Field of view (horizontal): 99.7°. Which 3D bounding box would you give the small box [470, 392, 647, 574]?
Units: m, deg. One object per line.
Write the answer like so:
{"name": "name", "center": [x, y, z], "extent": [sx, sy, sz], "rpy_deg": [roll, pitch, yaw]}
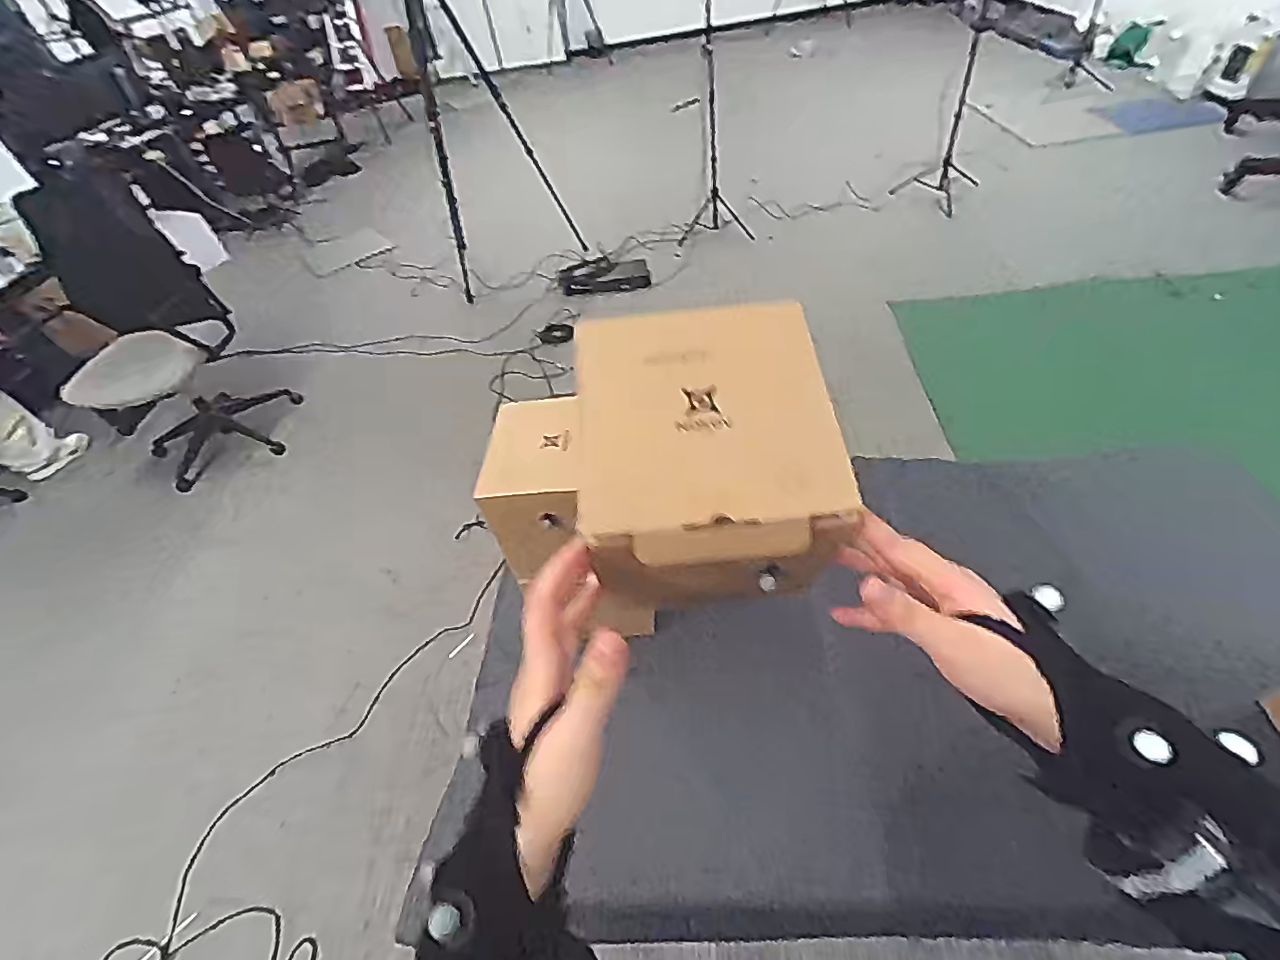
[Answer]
{"name": "small box", "center": [-0.090, 0.009, 0.698], "extent": [0.179, 0.176, 0.168], "rpy_deg": [-4, 49, 6]}
